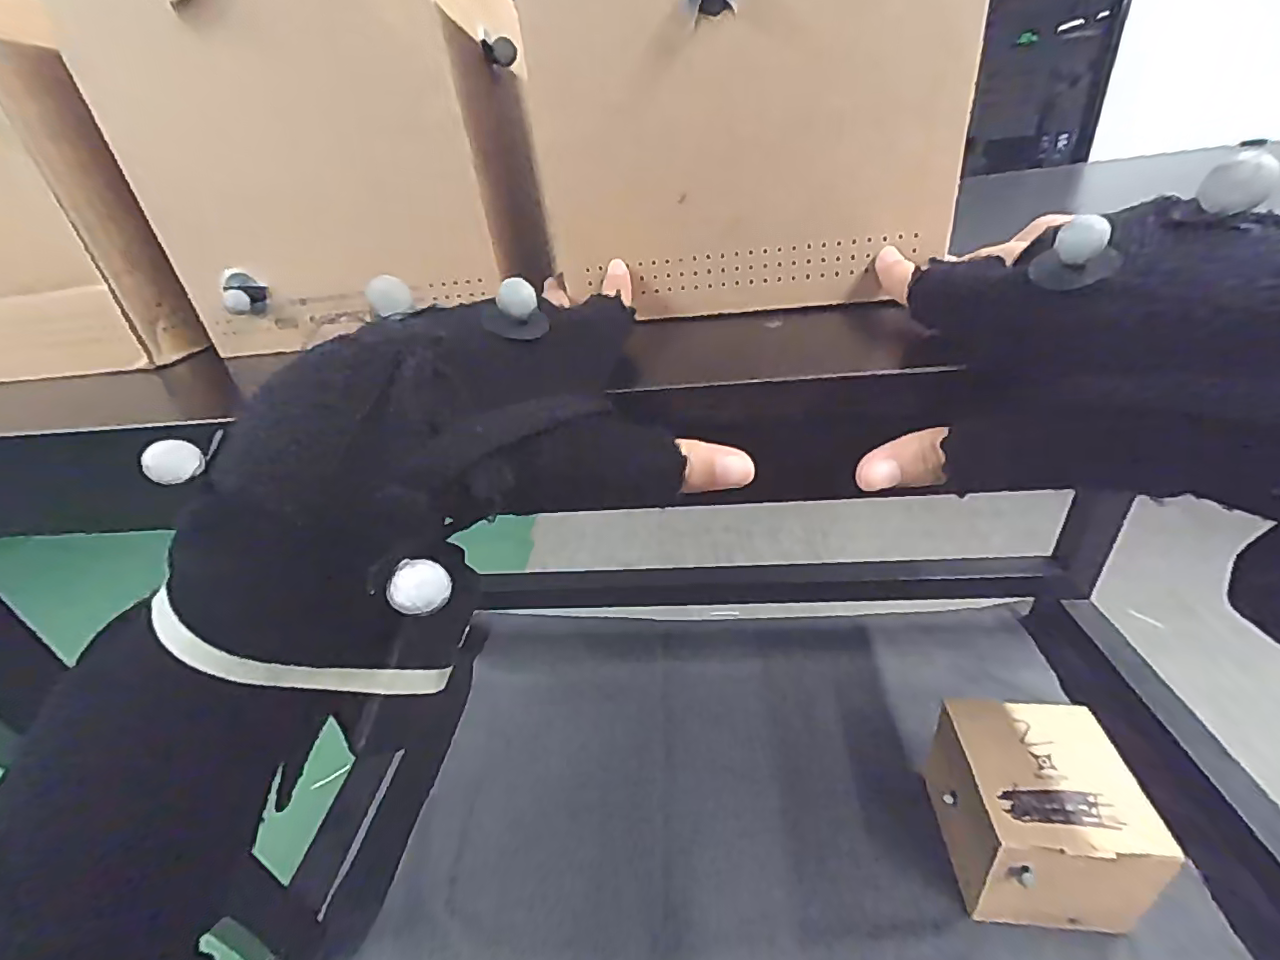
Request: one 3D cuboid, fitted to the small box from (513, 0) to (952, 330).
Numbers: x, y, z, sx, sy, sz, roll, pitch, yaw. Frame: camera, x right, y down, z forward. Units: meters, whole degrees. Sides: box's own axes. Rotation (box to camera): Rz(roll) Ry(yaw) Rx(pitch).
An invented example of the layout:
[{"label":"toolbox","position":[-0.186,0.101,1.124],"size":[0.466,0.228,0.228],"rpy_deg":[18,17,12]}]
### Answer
[{"label":"small box","position":[0.047,-0.185,0.289],"size":[0.179,0.176,0.168],"rpy_deg":[-1,32,10]}]
